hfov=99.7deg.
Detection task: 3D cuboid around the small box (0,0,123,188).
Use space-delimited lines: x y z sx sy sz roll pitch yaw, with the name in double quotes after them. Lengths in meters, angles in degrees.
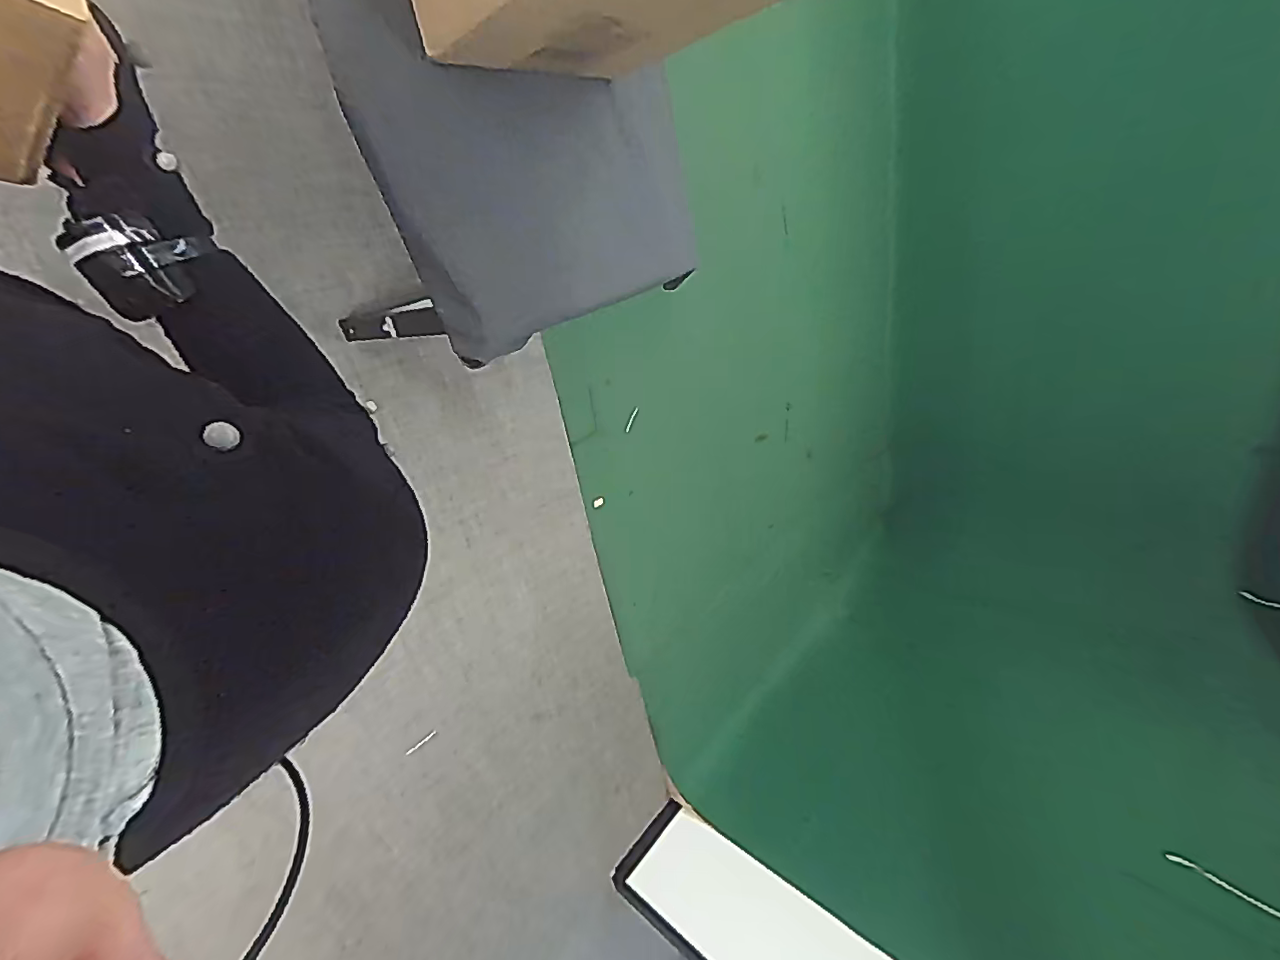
-0.371 -0.258 0.229 0.179 0.176 0.168 -15 92 -55 "small box"
